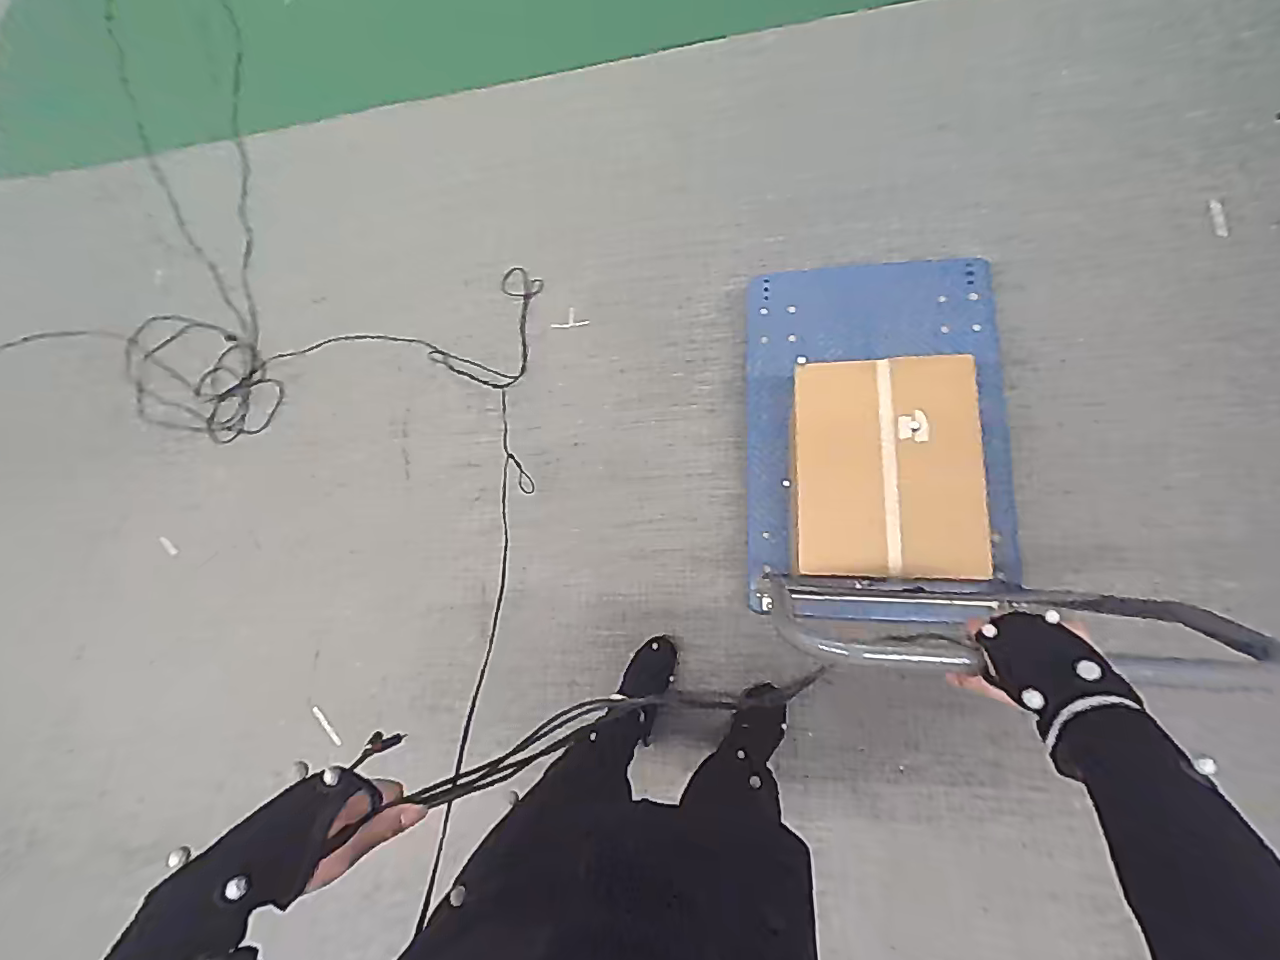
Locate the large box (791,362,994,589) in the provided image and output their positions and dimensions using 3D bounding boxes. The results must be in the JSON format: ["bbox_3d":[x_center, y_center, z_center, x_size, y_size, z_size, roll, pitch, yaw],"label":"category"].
[{"bbox_3d":[0.480,0.015,1.115,0.320,0.320,0.408,0,77,12],"label":"large box"}]
